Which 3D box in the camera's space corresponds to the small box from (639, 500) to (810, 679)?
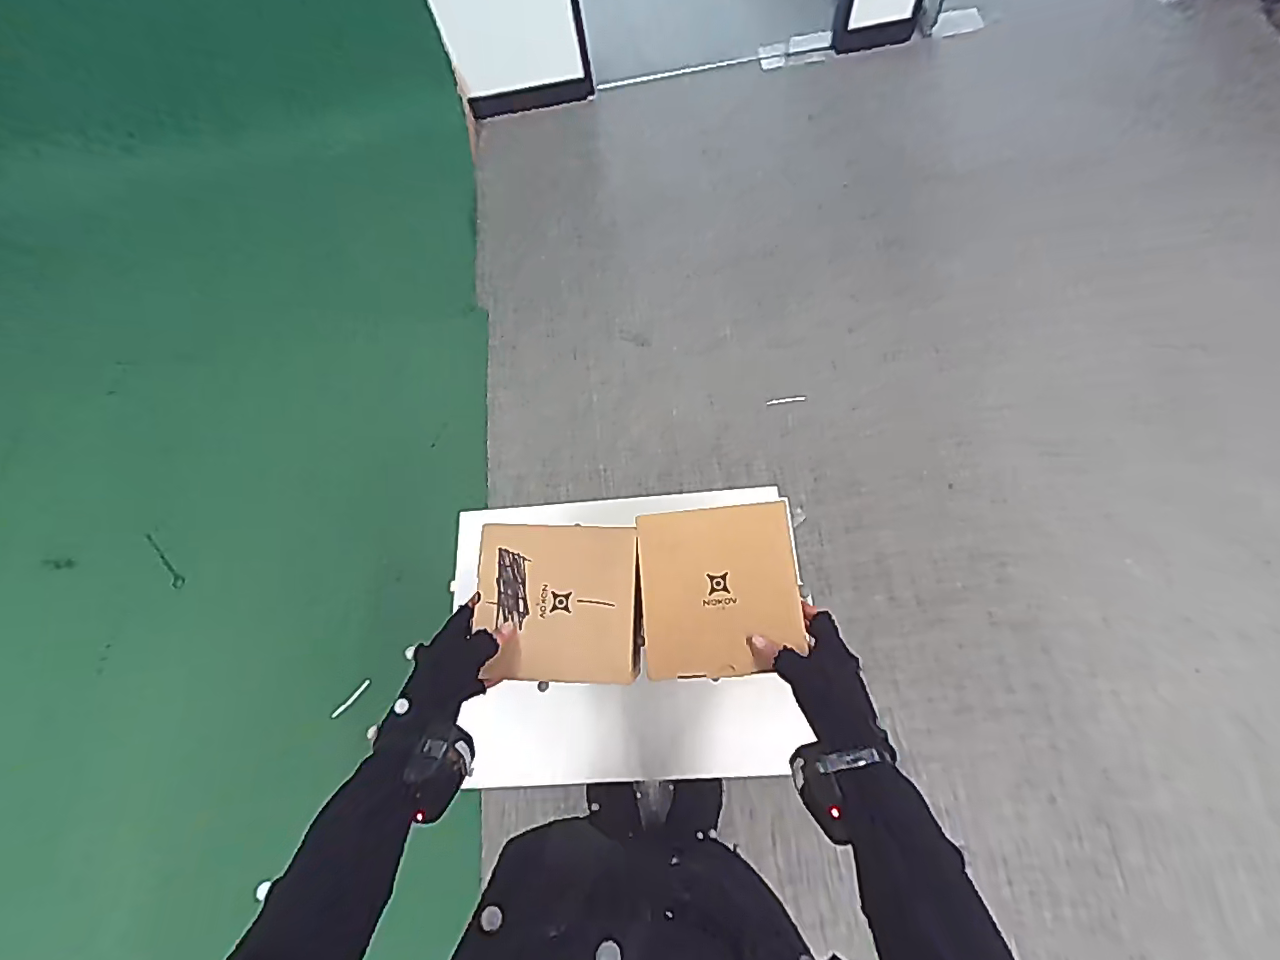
[{"bbox_3d":[0.092,0.134,0.641,0.168,0.176,0.179,-6,74,6],"label":"small box"}]
